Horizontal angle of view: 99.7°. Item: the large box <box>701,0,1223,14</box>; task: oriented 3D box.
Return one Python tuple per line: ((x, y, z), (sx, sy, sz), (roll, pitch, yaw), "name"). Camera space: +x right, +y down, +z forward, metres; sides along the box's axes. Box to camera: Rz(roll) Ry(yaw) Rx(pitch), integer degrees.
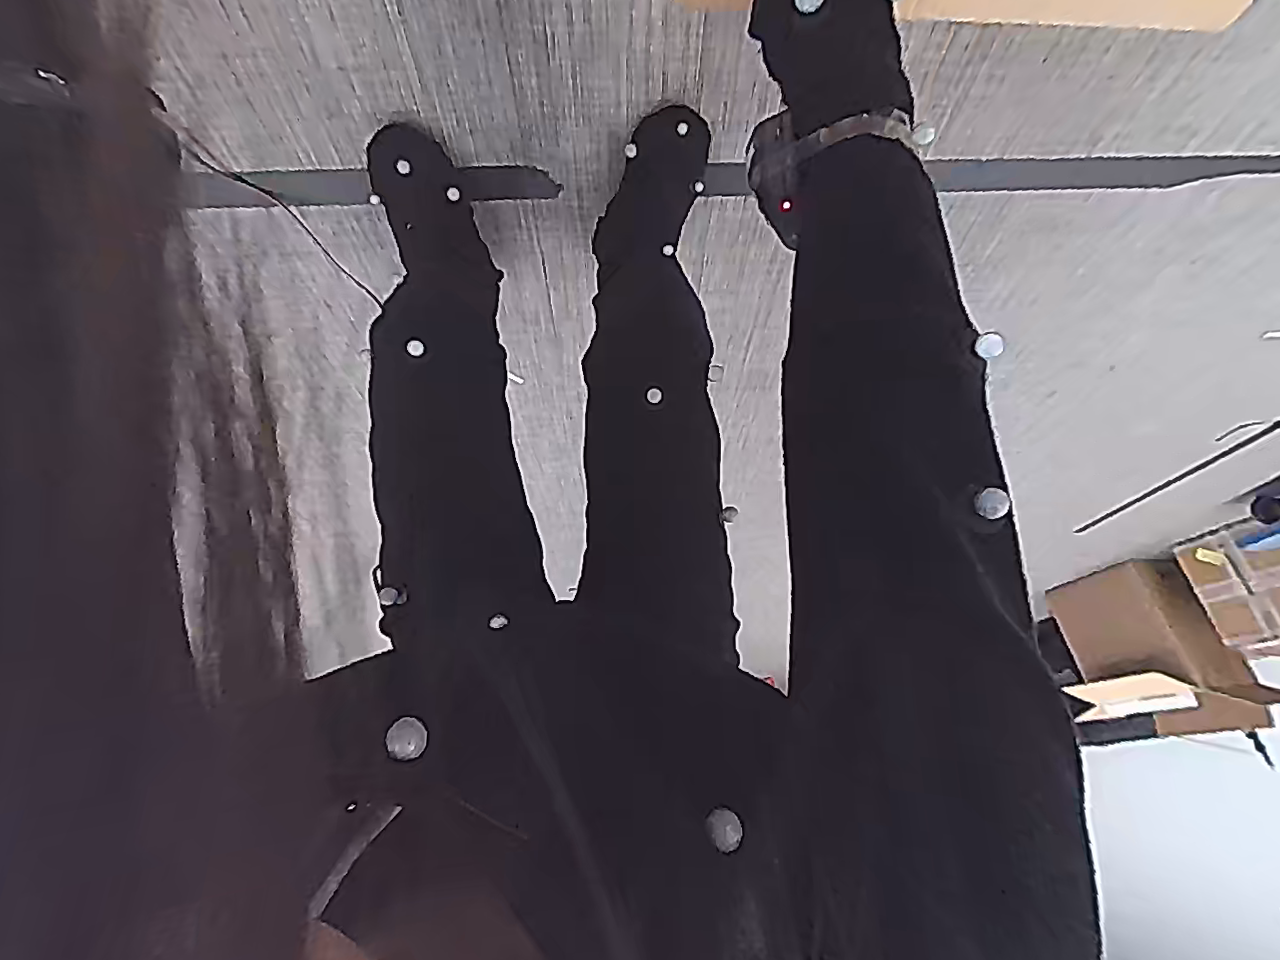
((0.219, -0.535, 0.317), (0.408, 0.320, 0.320), (-3, 153, -6), "large box")
